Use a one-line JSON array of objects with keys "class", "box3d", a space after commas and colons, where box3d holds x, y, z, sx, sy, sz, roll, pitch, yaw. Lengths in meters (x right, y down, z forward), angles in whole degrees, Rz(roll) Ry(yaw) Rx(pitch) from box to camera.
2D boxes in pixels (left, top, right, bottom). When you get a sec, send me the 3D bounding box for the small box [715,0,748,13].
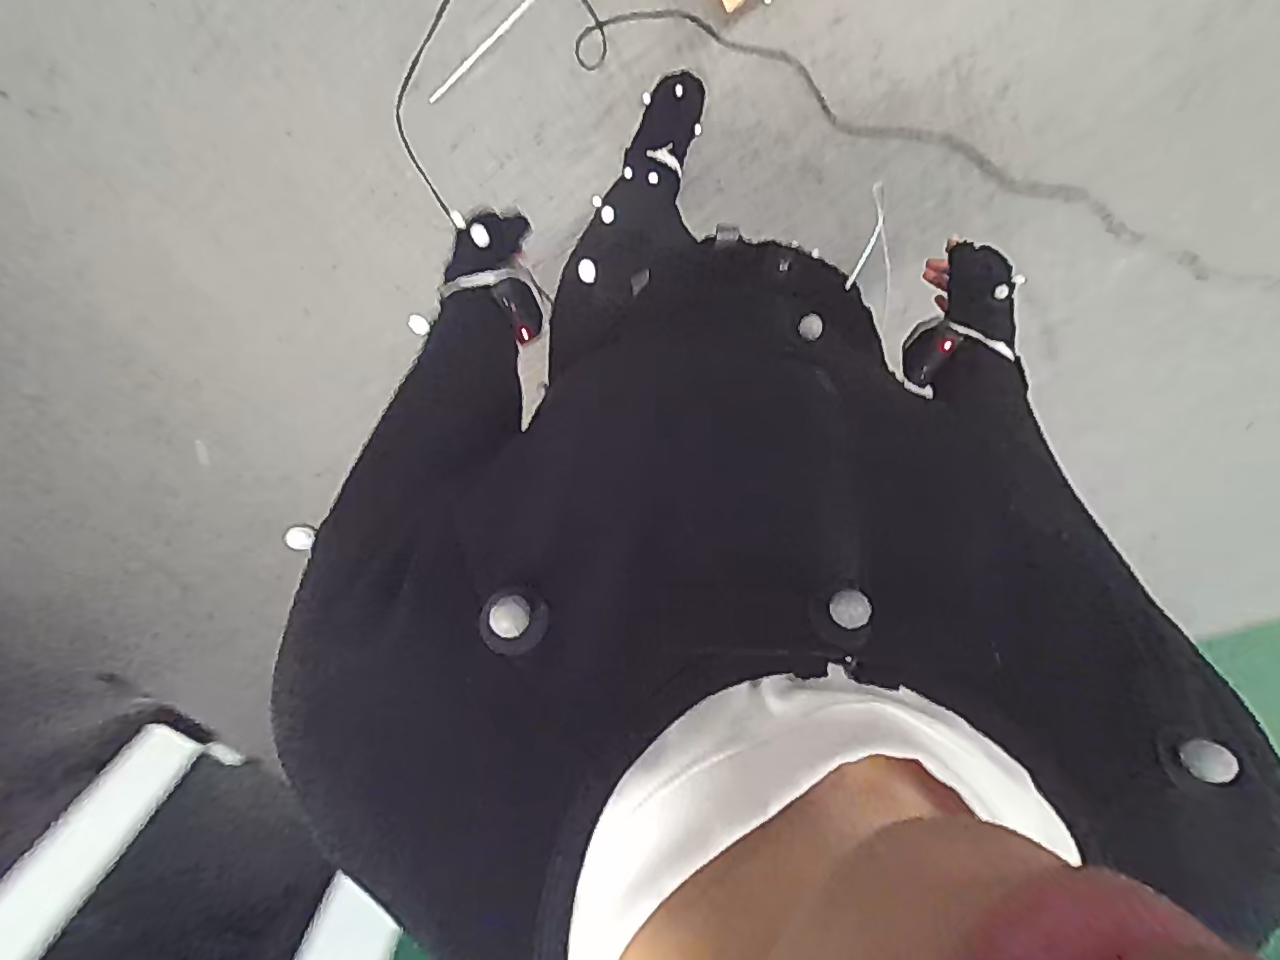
[{"class": "small box", "box3d": [0.179, -0.938, 0.914, 0.168, 0.176, 0.179, -25, 118, 21]}]
